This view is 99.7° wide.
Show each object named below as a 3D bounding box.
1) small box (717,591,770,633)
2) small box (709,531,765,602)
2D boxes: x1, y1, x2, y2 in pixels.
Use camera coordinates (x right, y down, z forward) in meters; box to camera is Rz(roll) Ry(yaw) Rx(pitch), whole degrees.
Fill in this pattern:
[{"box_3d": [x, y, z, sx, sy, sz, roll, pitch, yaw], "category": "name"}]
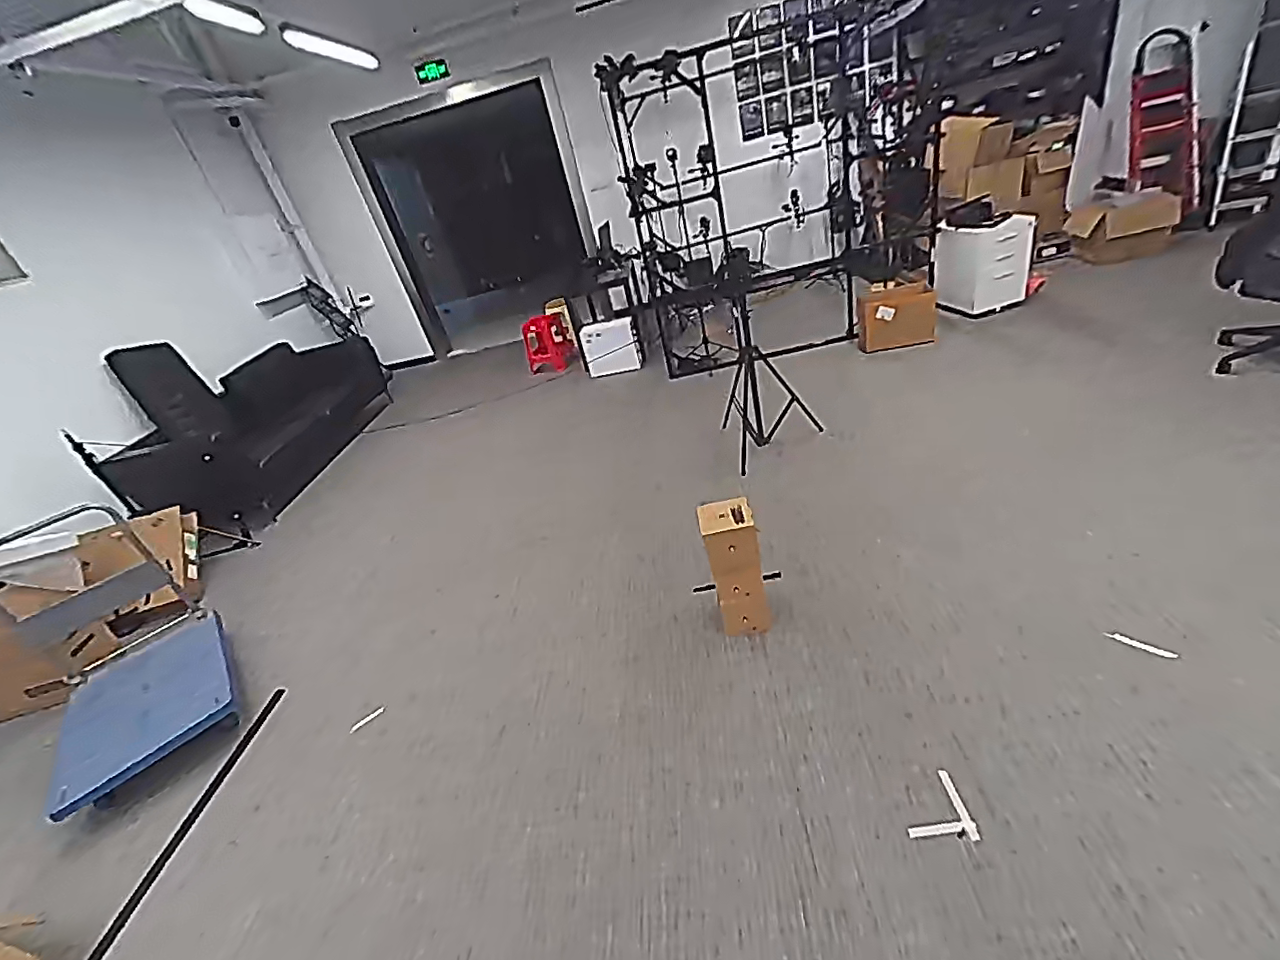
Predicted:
[{"box_3d": [0.381, 0.452, 2.017, 0.168, 0.176, 0.179, -12, 30, 6], "category": "small box"}, {"box_3d": [0.346, 0.311, 1.942, 0.168, 0.176, 0.179, -11, 31, 8], "category": "small box"}]
